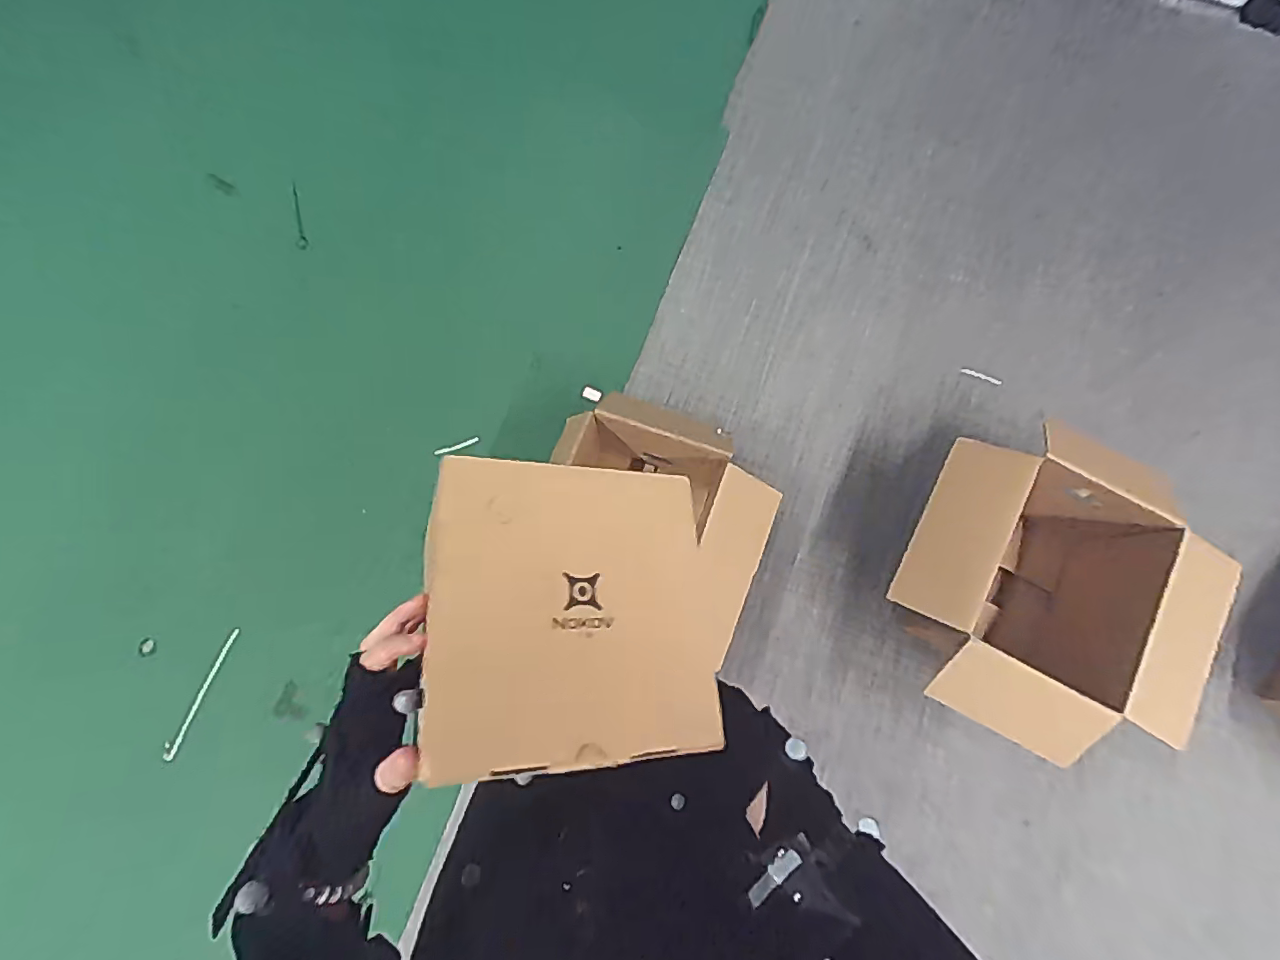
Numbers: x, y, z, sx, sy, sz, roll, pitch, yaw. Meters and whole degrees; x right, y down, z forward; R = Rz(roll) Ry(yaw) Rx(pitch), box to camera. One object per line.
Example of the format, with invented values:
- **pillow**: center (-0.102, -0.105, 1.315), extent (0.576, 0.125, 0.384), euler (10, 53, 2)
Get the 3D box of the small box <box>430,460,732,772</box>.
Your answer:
- **small box**: center (-0.058, 0.104, 0.393), extent (0.168, 0.176, 0.179), euler (3, 64, -22)
